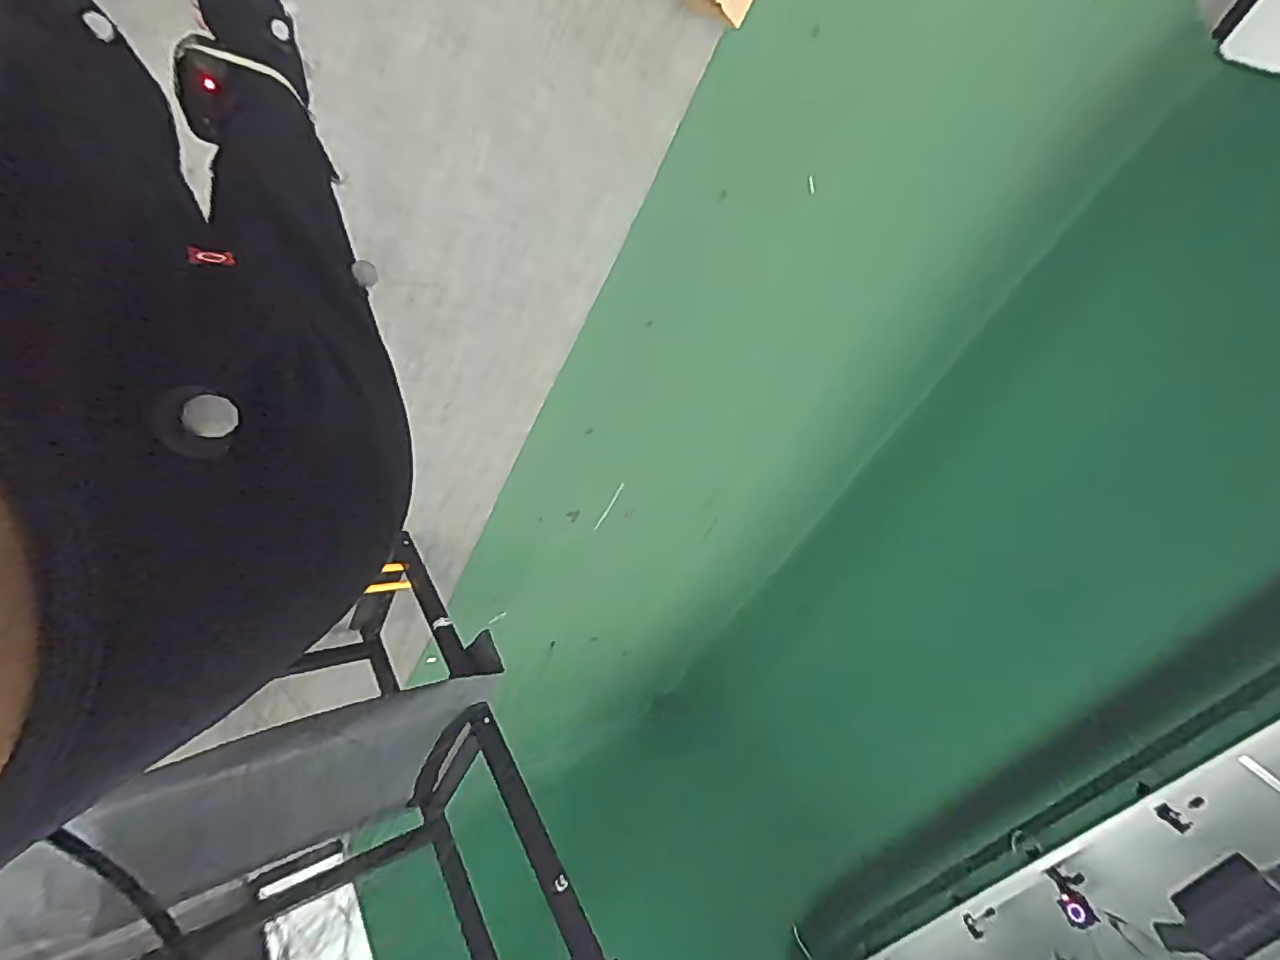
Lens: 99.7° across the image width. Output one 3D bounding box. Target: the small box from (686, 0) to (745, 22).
[{"bbox_3d":[0.169,-1.229,1.258,0.168,0.176,0.179,2,128,-48],"label":"small box"}]
